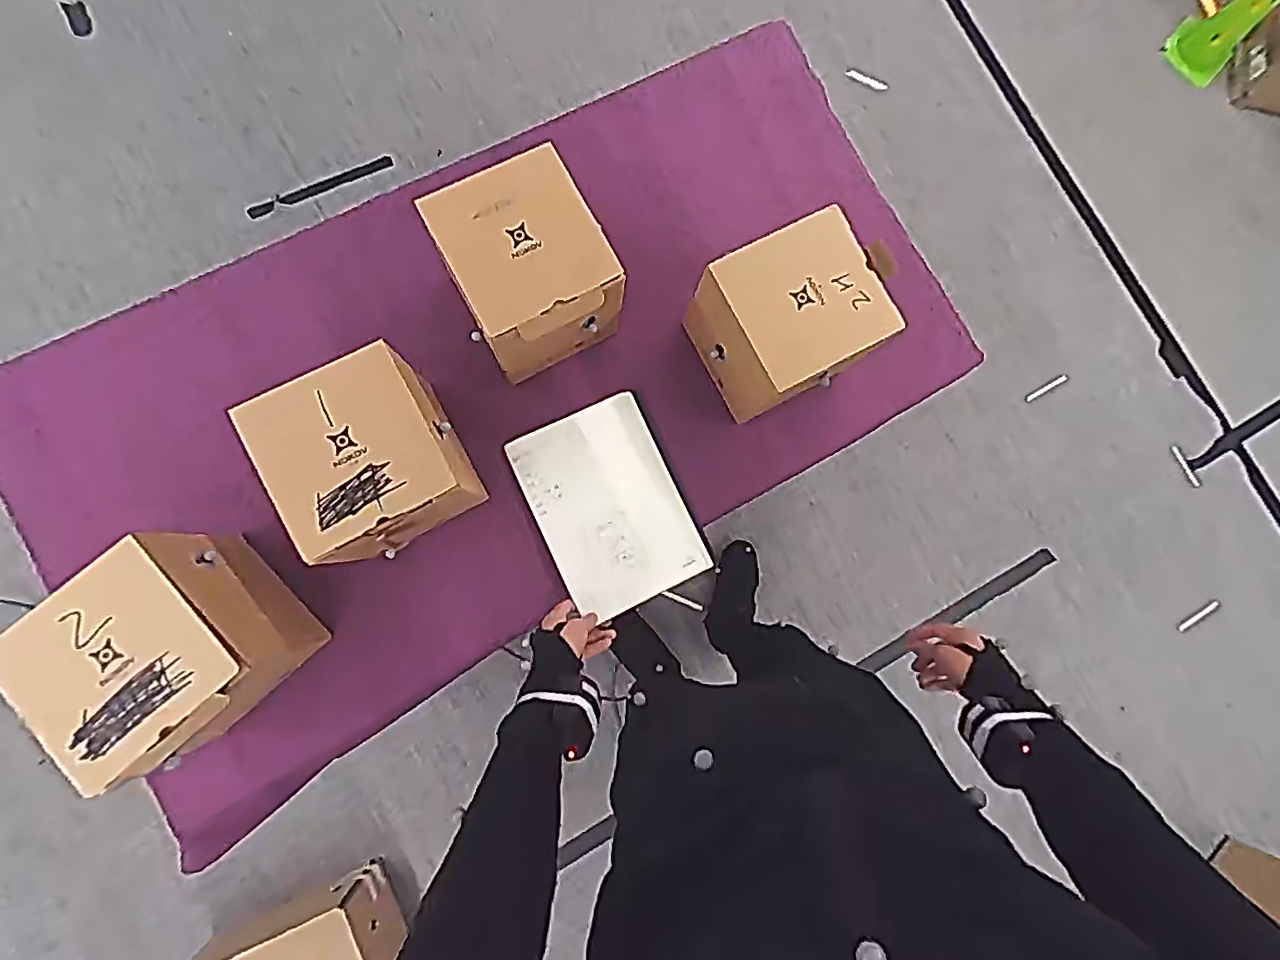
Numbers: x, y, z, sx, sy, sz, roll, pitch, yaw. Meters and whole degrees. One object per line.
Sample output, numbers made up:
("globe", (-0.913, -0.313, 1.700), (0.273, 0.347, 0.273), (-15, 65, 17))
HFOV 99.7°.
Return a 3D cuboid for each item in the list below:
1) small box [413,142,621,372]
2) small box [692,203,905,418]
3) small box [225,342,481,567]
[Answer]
("small box", (-0.136, -0.248, 0.652), (0.168, 0.176, 0.179), (-28, 87, -9))
("small box", (0.178, -0.195, 0.675), (0.179, 0.176, 0.168), (-28, 87, -8))
("small box", (-0.301, -0.020, 0.611), (0.168, 0.176, 0.179), (-28, 87, -8))
